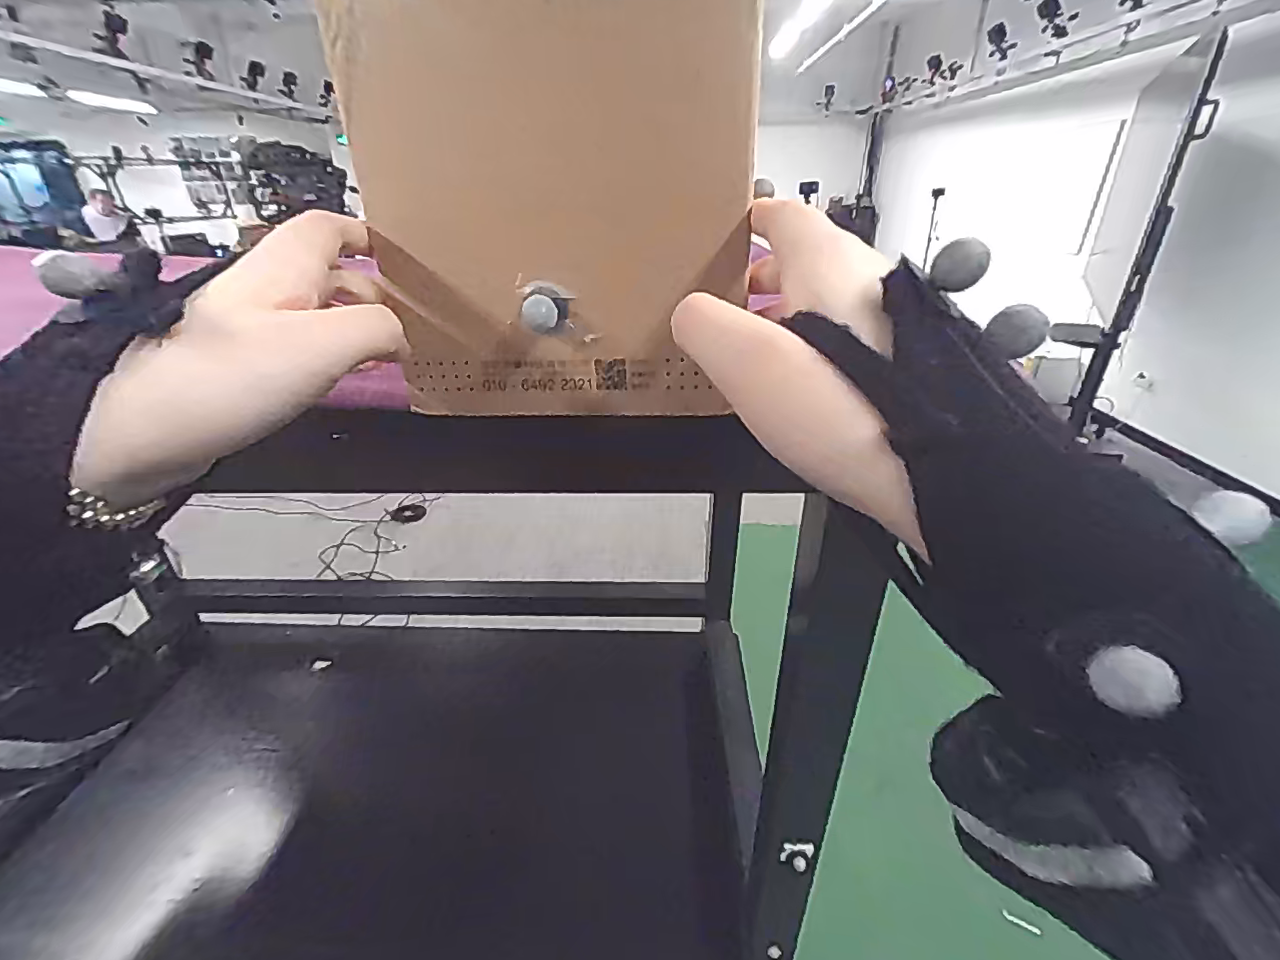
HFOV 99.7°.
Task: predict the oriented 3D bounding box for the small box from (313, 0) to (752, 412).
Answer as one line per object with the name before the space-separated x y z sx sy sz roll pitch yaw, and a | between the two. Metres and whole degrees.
small box | -0.029 -0.146 0.296 0.168 0.176 0.179 1 28 8
